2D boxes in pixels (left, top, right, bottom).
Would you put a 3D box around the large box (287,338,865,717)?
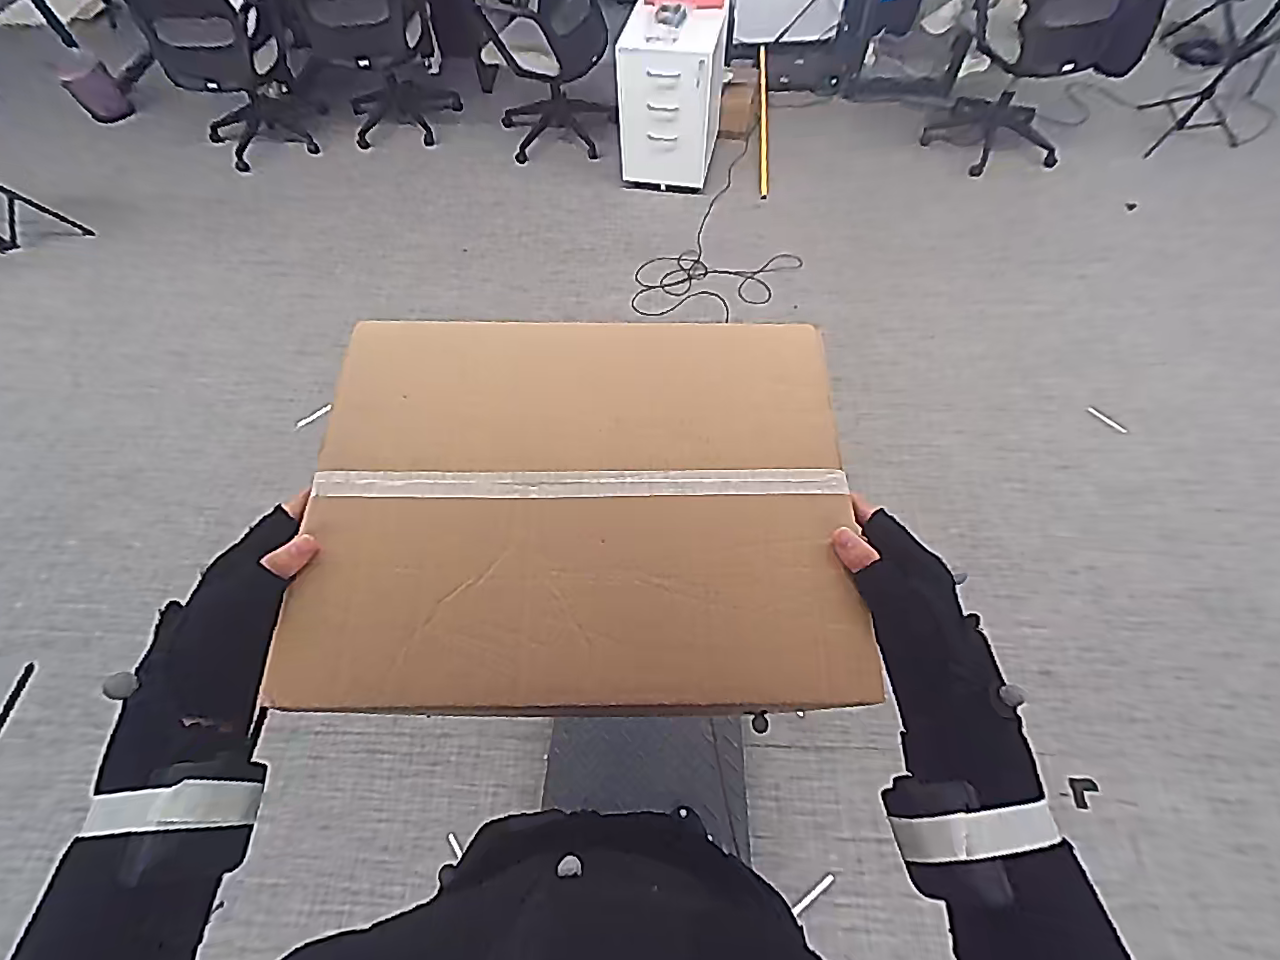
[{"bbox_3d":[-0.045,0.073,0.563,0.408,0.320,0.320,0,65,-1],"label":"large box"}]
